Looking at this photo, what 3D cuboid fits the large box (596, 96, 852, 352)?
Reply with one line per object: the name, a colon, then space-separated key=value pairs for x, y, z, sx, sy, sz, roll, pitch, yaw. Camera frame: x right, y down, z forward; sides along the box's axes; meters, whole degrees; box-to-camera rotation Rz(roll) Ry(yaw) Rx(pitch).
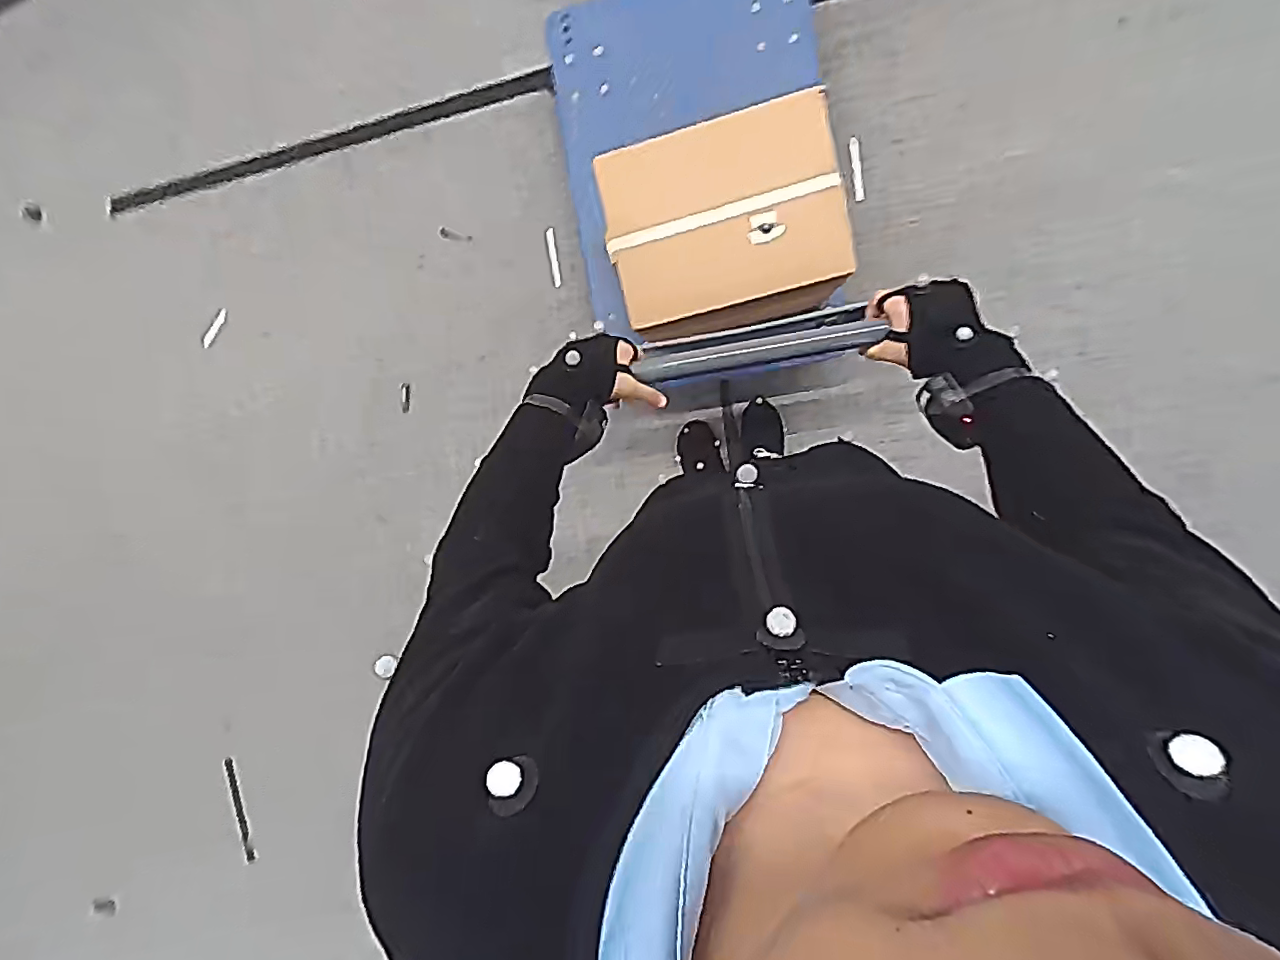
large box: x=0.161 y=-0.478 z=1.106 sx=0.408 sy=0.320 sz=0.320 roll=-13 pitch=96 yaw=8
